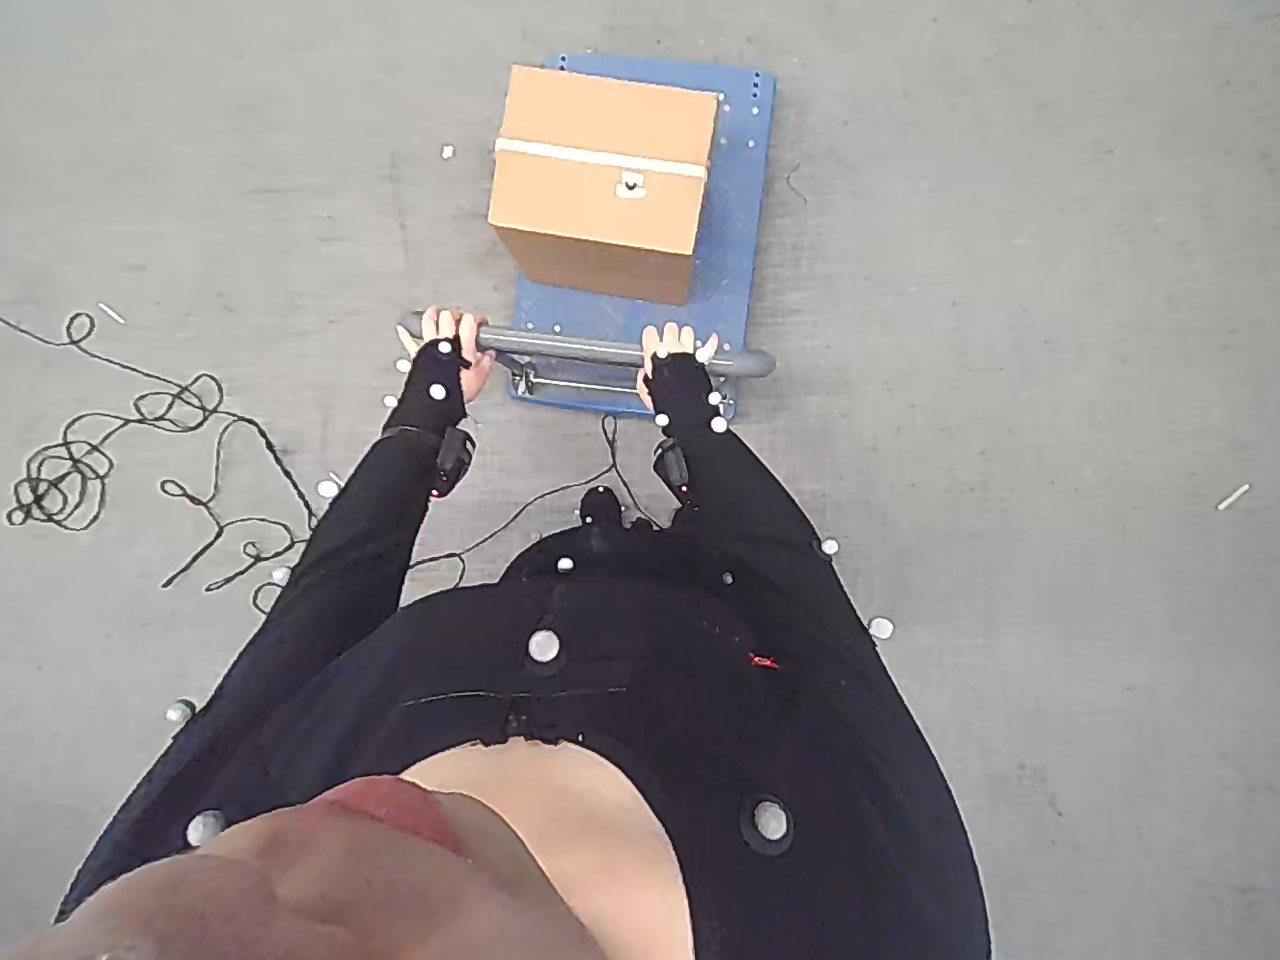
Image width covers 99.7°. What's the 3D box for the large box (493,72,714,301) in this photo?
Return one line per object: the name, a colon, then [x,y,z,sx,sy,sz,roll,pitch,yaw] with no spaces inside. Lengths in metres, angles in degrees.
large box: [-0.071,-0.623,1.203,0.408,0.320,0.320,9,91,1]
